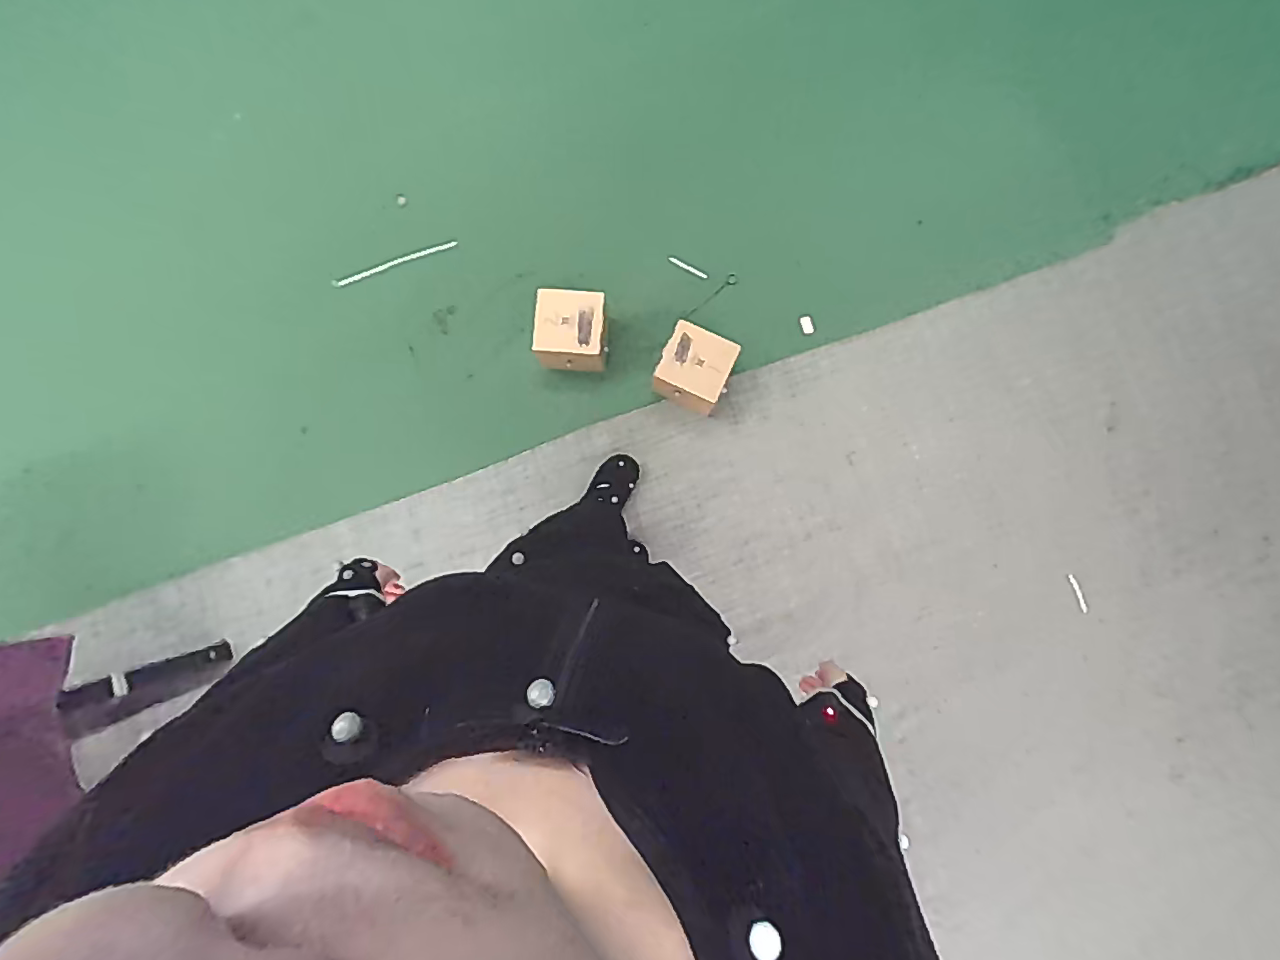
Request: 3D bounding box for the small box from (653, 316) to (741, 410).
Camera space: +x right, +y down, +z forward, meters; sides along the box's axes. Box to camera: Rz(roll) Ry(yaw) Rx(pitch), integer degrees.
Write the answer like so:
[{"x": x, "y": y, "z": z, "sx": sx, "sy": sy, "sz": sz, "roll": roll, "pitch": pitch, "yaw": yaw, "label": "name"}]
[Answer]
[{"x": 0.145, "y": -0.303, "z": 1.446, "sx": 0.179, "sy": 0.176, "sz": 0.168, "roll": 26, "pitch": 87, "yaw": 1, "label": "small box"}]
